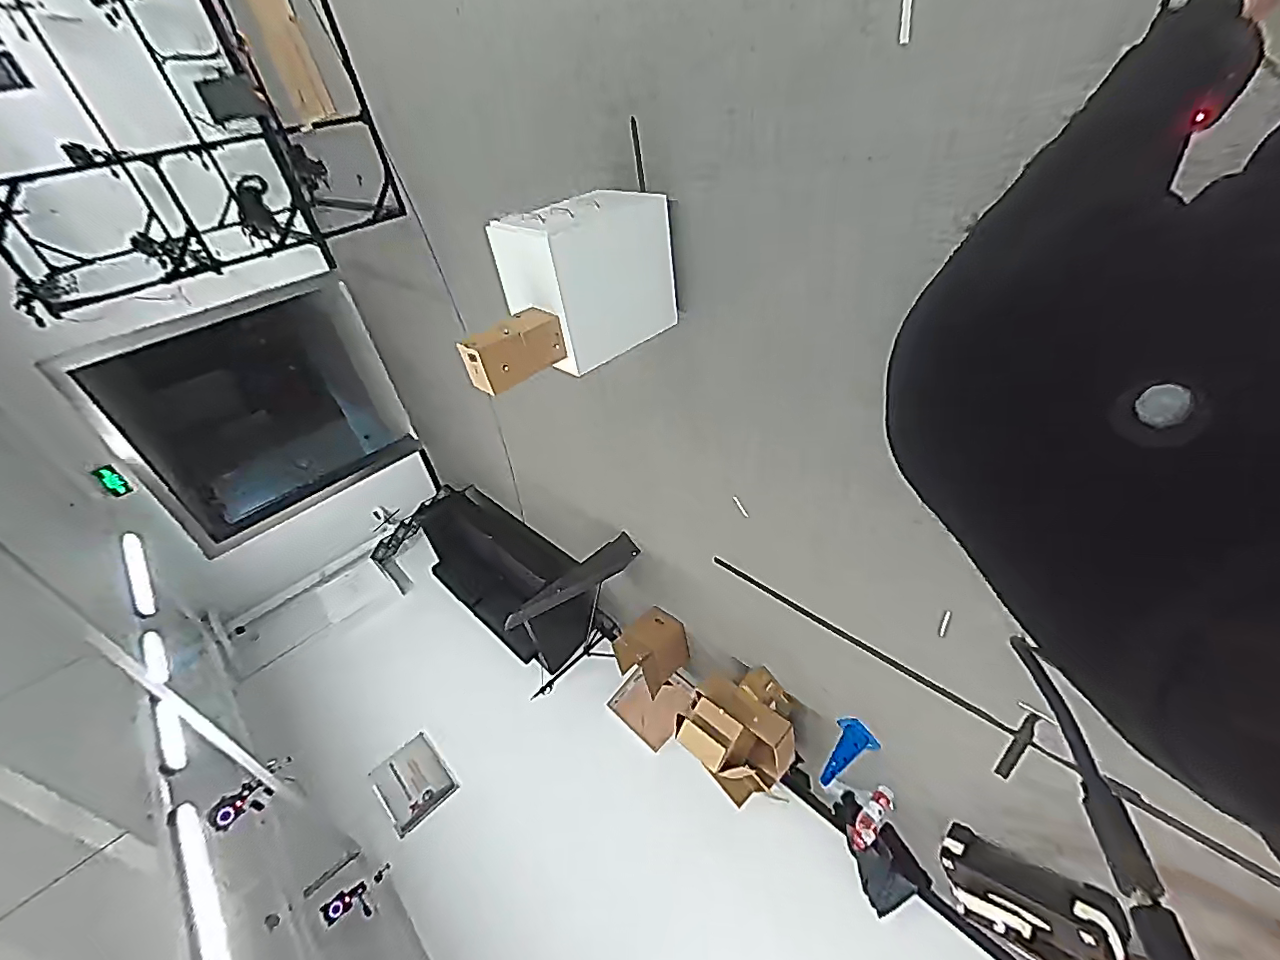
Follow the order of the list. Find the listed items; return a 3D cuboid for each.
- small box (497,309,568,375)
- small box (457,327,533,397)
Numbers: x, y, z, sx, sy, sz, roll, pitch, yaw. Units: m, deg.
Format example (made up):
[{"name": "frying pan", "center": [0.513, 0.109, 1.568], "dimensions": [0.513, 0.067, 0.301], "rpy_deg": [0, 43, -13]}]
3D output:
[{"name": "small box", "center": [-0.393, -0.512, 1.990], "dimensions": [0.179, 0.176, 0.168], "rpy_deg": [30, 144, 38]}, {"name": "small box", "center": [-0.510, -0.424, 1.916], "dimensions": [0.168, 0.176, 0.179], "rpy_deg": [28, 143, 42]}]
